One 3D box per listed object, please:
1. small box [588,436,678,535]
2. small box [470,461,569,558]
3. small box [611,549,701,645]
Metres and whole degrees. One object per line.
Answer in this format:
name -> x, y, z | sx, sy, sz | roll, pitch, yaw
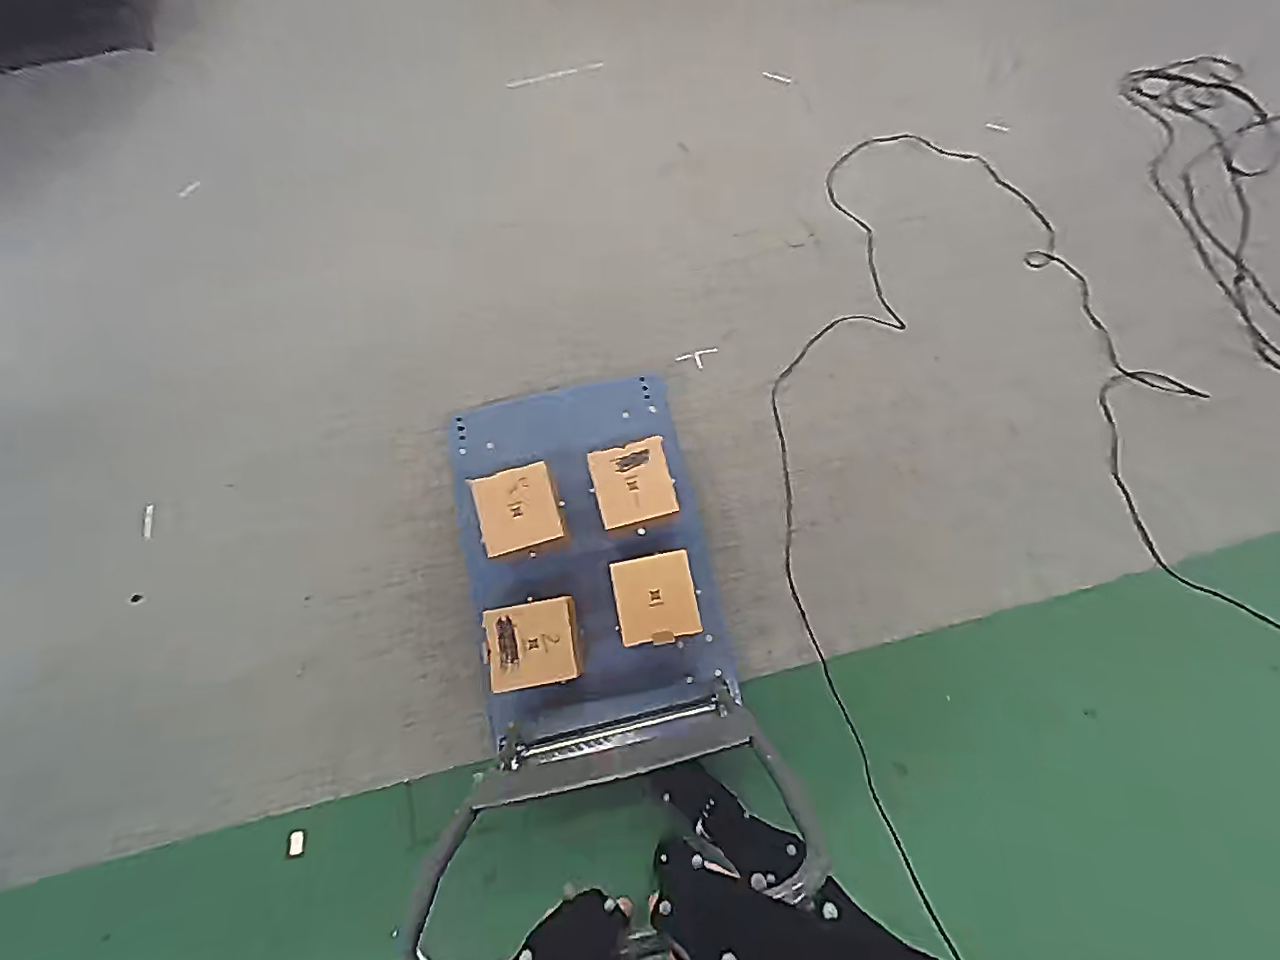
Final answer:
small box -> -0.018, 0.018, 1.244 | 0.168, 0.176, 0.179 | -14, 80, -2
small box -> -0.266, 0.076, 1.232 | 0.168, 0.176, 0.179 | -16, 79, -4
small box -> 0.031, 0.258, 1.197 | 0.168, 0.176, 0.179 | -11, 79, -2
